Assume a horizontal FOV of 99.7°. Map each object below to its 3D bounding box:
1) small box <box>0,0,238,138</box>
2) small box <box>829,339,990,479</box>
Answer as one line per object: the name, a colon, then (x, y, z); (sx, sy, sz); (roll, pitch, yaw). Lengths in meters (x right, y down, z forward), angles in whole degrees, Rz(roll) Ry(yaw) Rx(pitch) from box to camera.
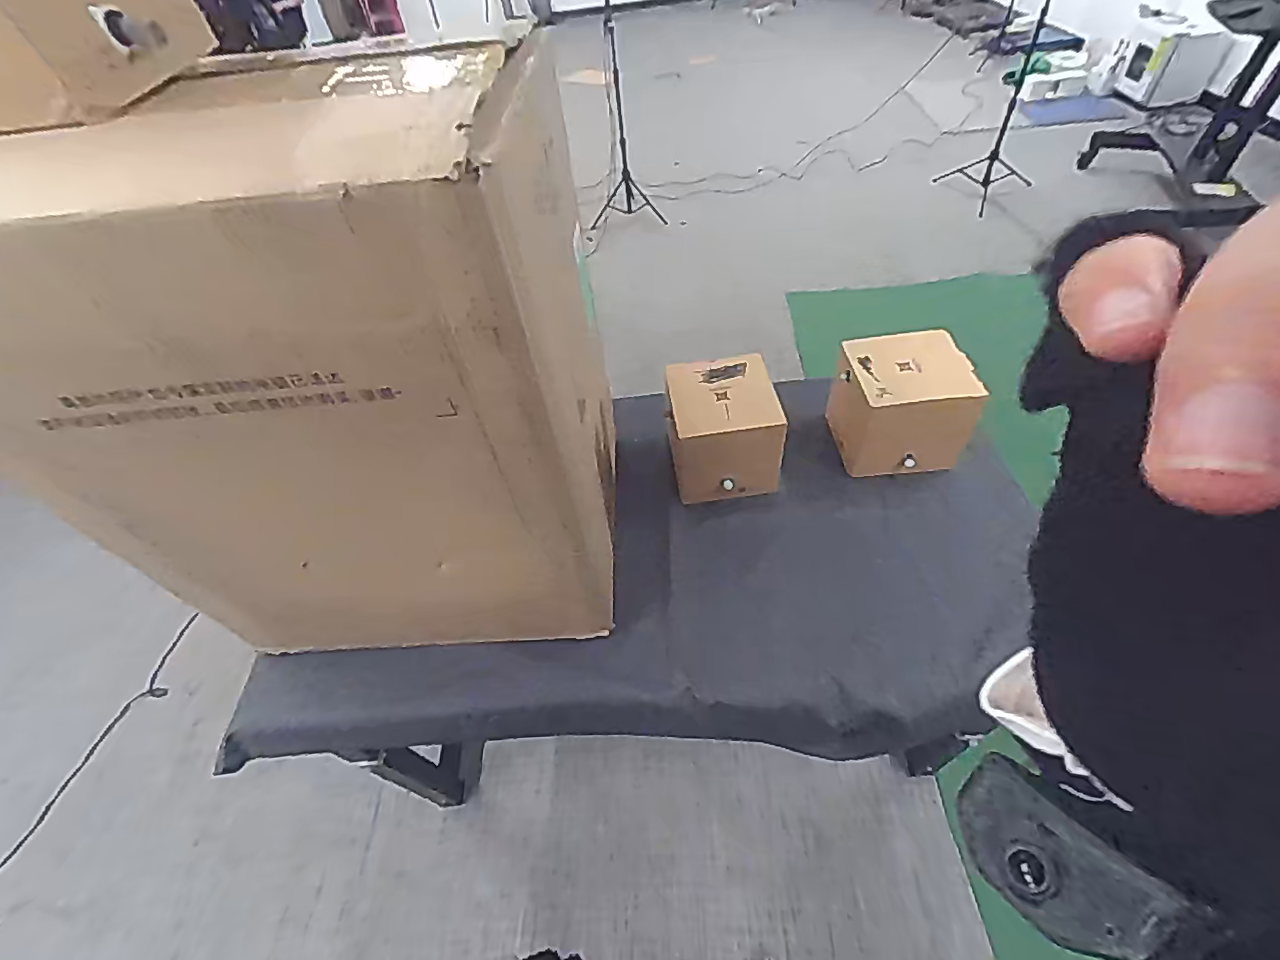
small box: (-0.453, -0.366, 0.385); (0.179, 0.176, 0.168); (2, 55, 6)
small box: (0.442, -0.117, 0.922); (0.179, 0.176, 0.168); (-5, 49, 3)
